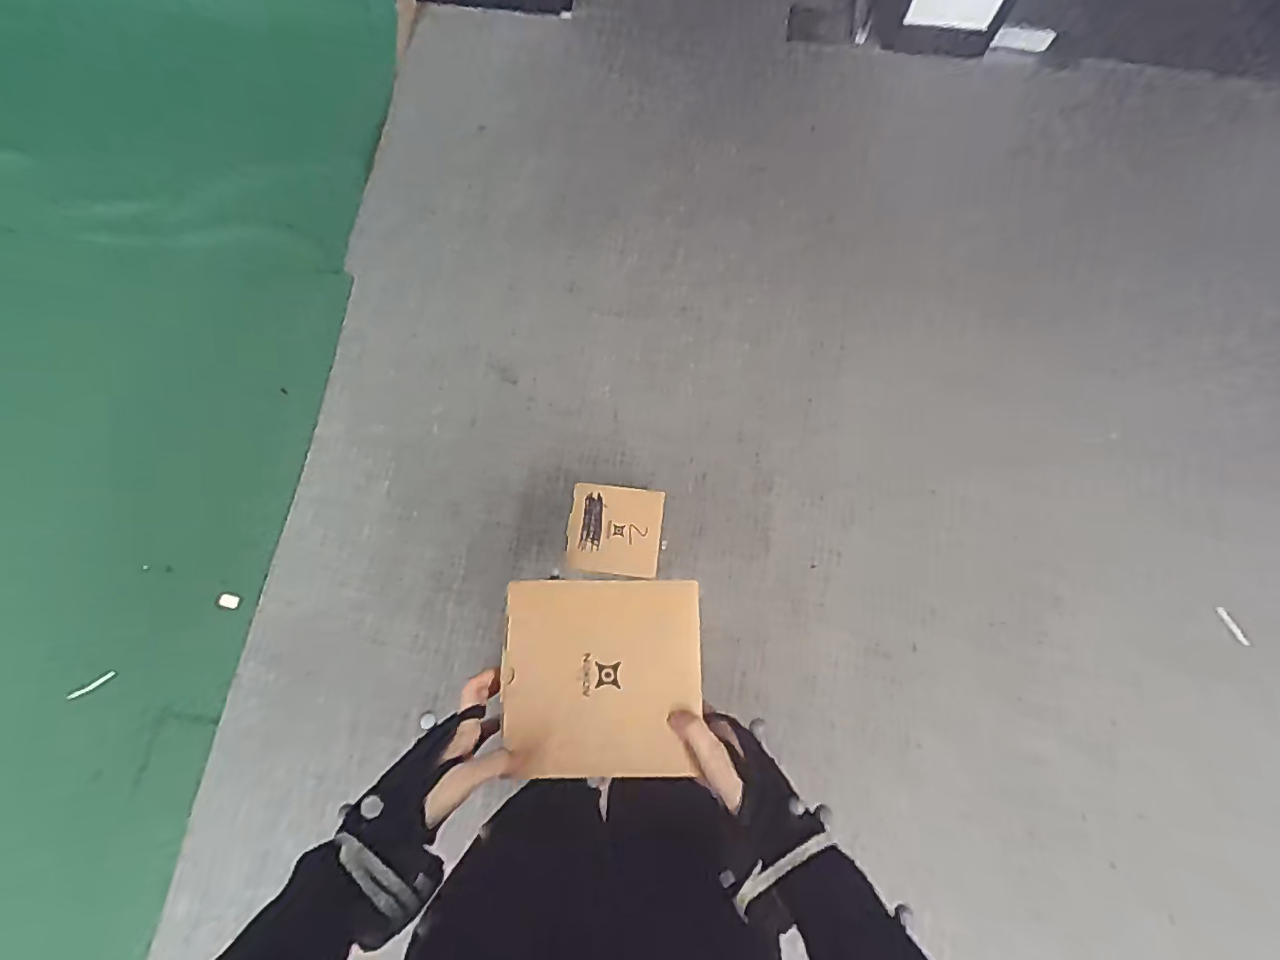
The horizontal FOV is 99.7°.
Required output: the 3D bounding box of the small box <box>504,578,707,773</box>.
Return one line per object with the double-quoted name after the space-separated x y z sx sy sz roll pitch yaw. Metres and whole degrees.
-0.031 0.185 0.556 0.179 0.176 0.168 -1 78 0 "small box"
